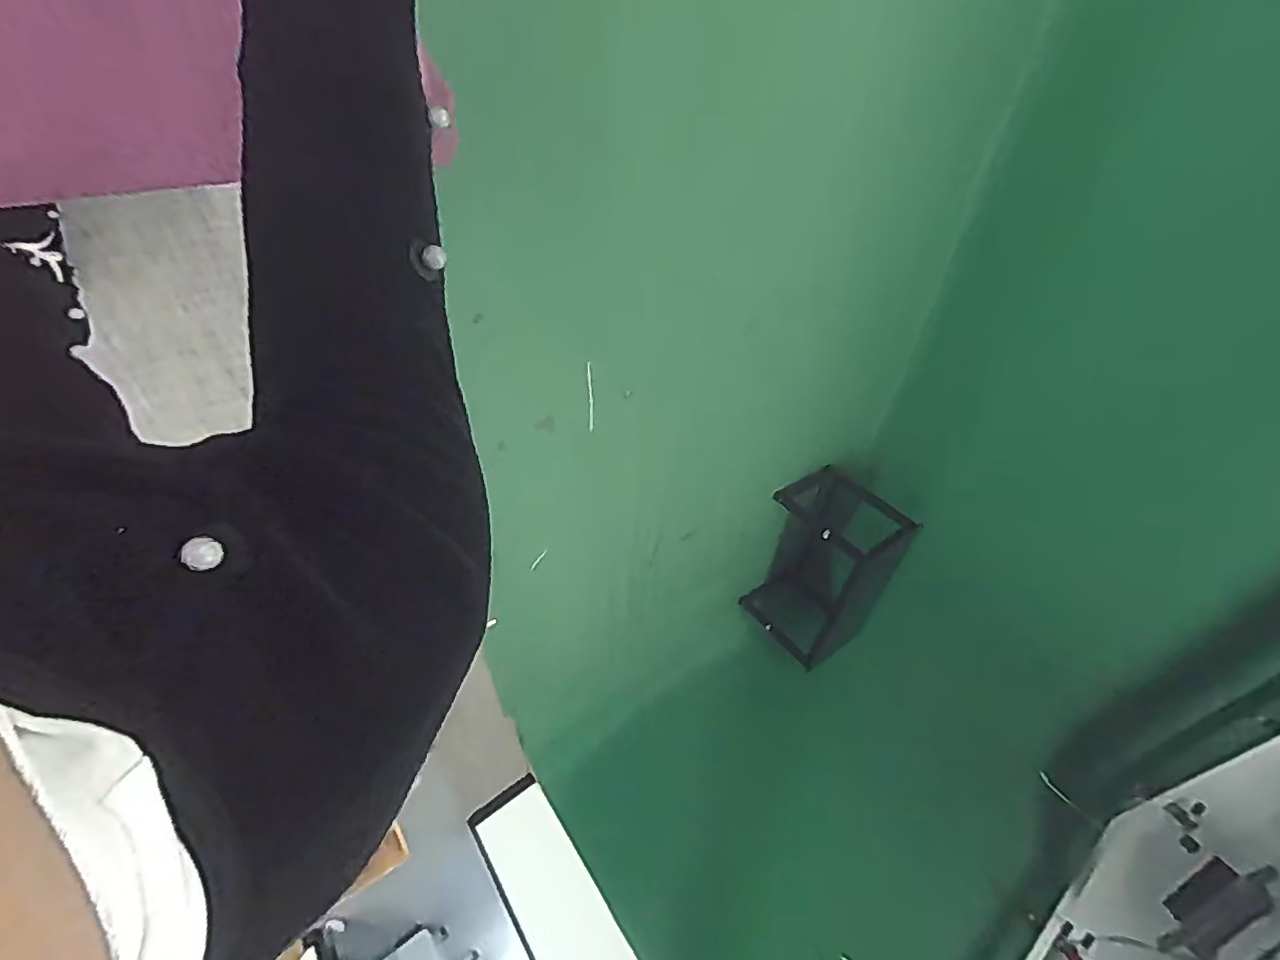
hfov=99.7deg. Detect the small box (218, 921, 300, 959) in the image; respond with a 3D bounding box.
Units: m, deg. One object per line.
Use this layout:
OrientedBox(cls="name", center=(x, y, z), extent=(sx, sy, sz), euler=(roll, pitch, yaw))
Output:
OrientedBox(cls="small box", center=(-1.160, 1.510, 1.661), extent=(0.168, 0.176, 0.179), euler=(-23, 137, -32))
